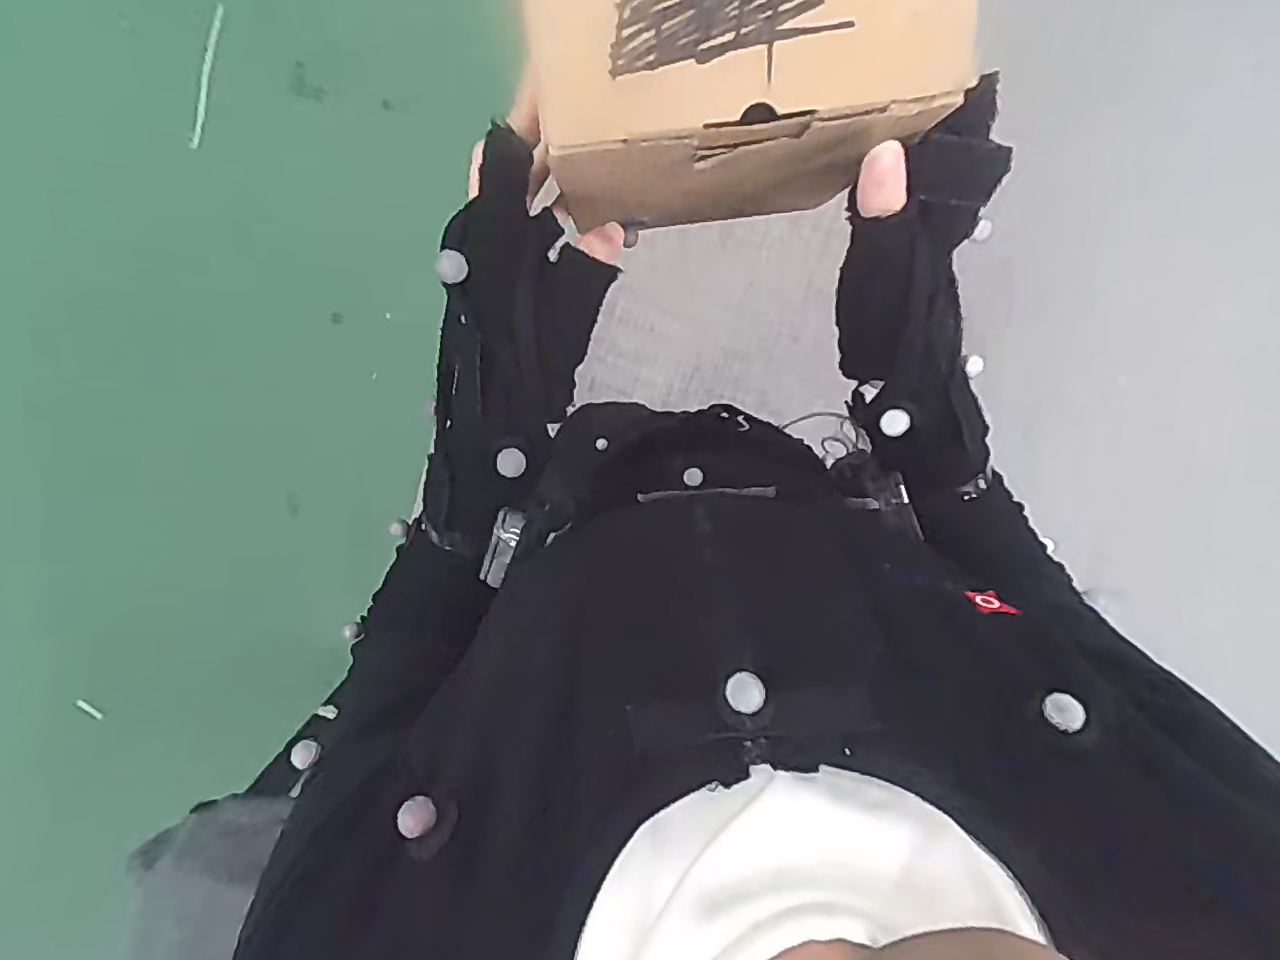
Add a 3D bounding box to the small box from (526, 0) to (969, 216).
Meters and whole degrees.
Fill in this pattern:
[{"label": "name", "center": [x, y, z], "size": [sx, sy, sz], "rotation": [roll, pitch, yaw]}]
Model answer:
[{"label": "small box", "center": [0.035, -0.242, 0.266], "size": [0.168, 0.176, 0.179], "rotation": [-6, 104, 1]}]
